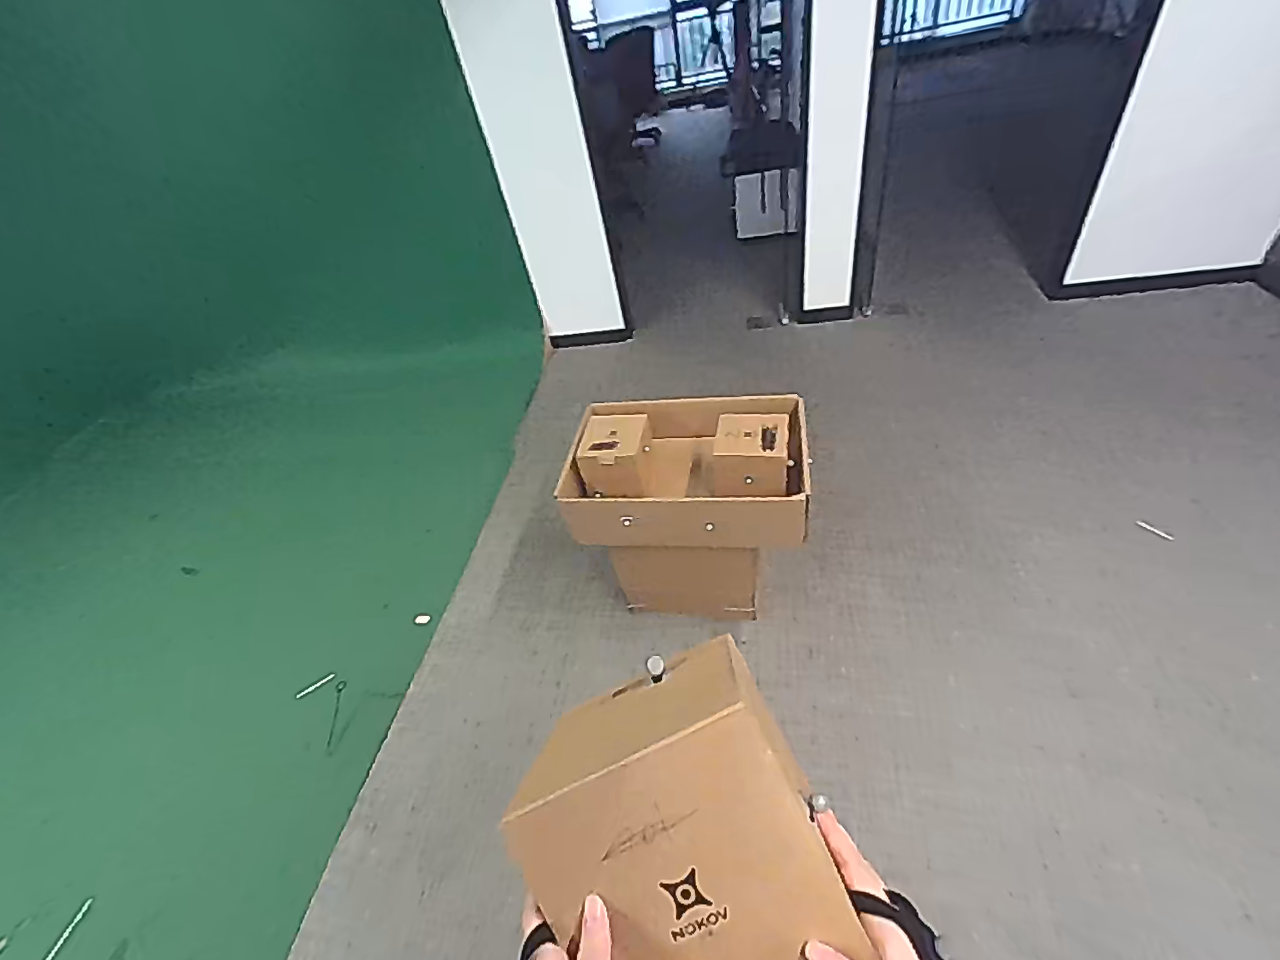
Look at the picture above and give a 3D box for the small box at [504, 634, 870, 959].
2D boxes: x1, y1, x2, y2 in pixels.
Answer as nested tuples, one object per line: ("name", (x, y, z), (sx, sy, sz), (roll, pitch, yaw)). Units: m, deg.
("small box", (0.035, 0.240, 0.395), (0.168, 0.176, 0.179), (-27, 85, 5))
